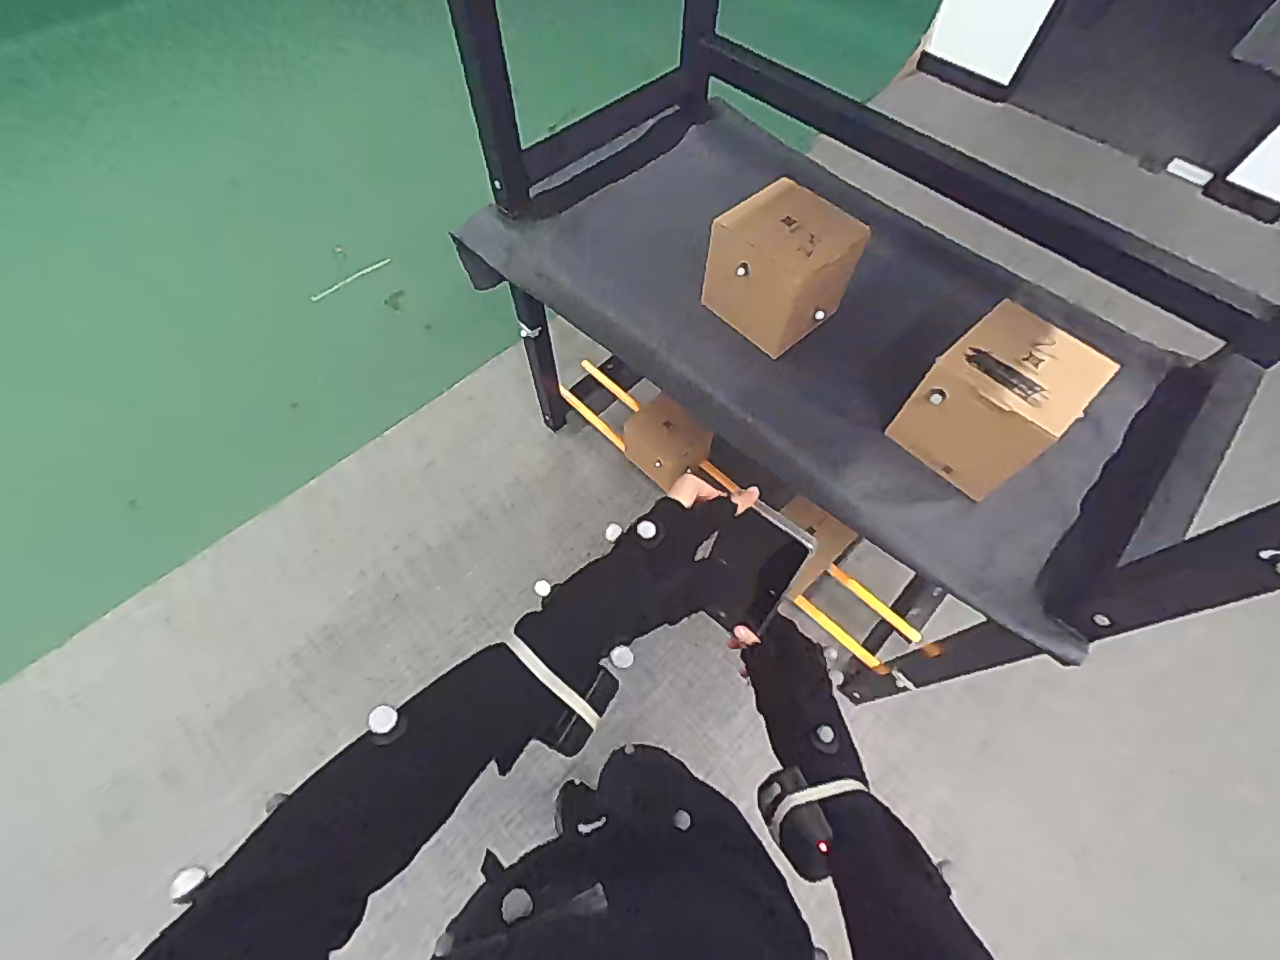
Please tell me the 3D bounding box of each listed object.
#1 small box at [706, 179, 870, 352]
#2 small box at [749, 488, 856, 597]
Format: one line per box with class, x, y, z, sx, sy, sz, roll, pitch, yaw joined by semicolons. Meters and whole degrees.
small box;0.228;-0.345;0.884;0.168;0.176;0.179;-38;69;-19
small box;0.386;0.158;1.325;0.179;0.176;0.168;-38;69;-19
